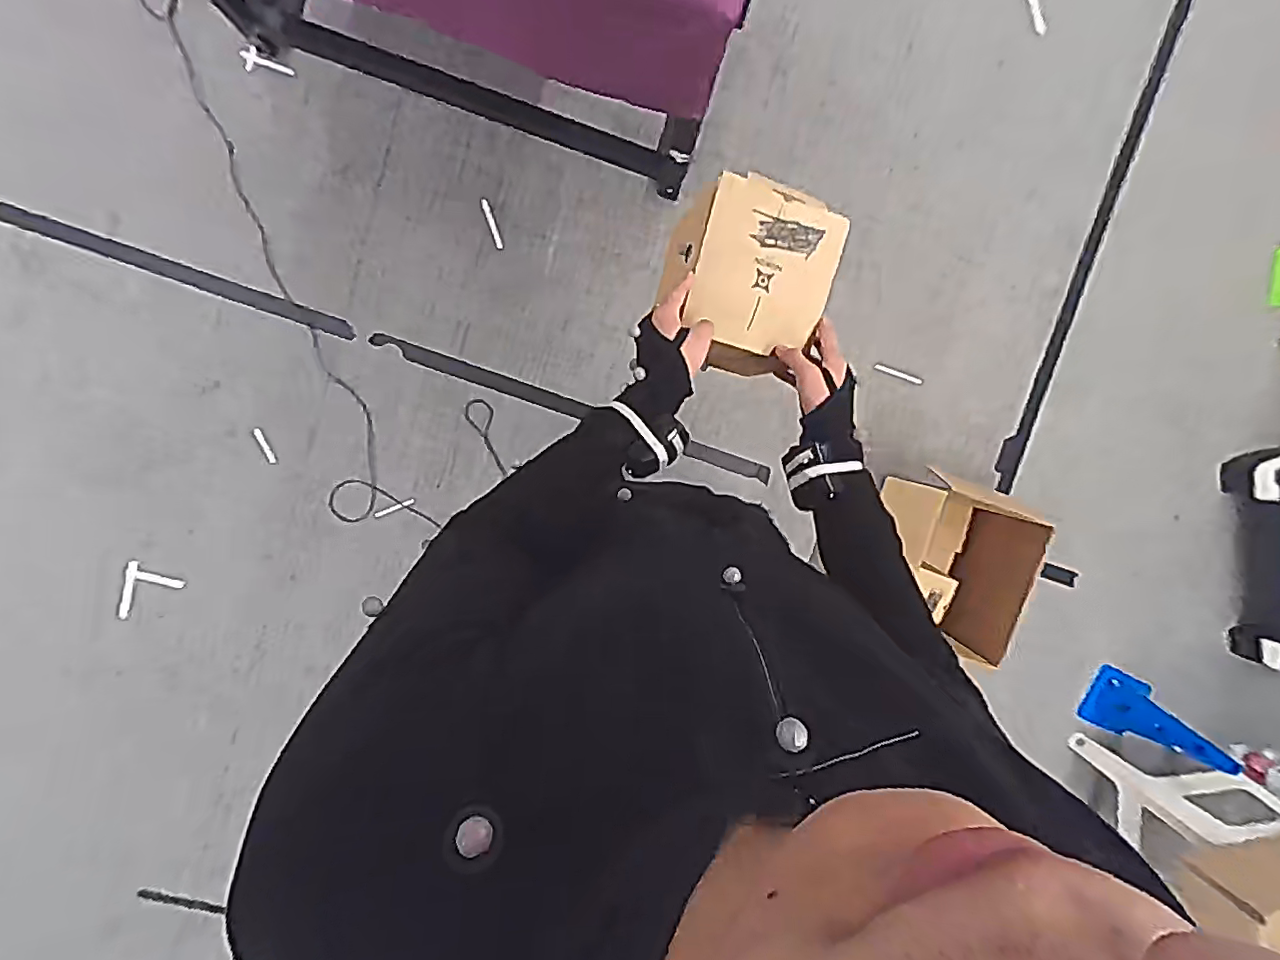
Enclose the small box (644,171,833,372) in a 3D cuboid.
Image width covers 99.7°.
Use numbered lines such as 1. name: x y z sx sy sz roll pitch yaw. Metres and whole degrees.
1. small box: 0.113 -0.249 0.695 0.168 0.176 0.179 12 94 -14
